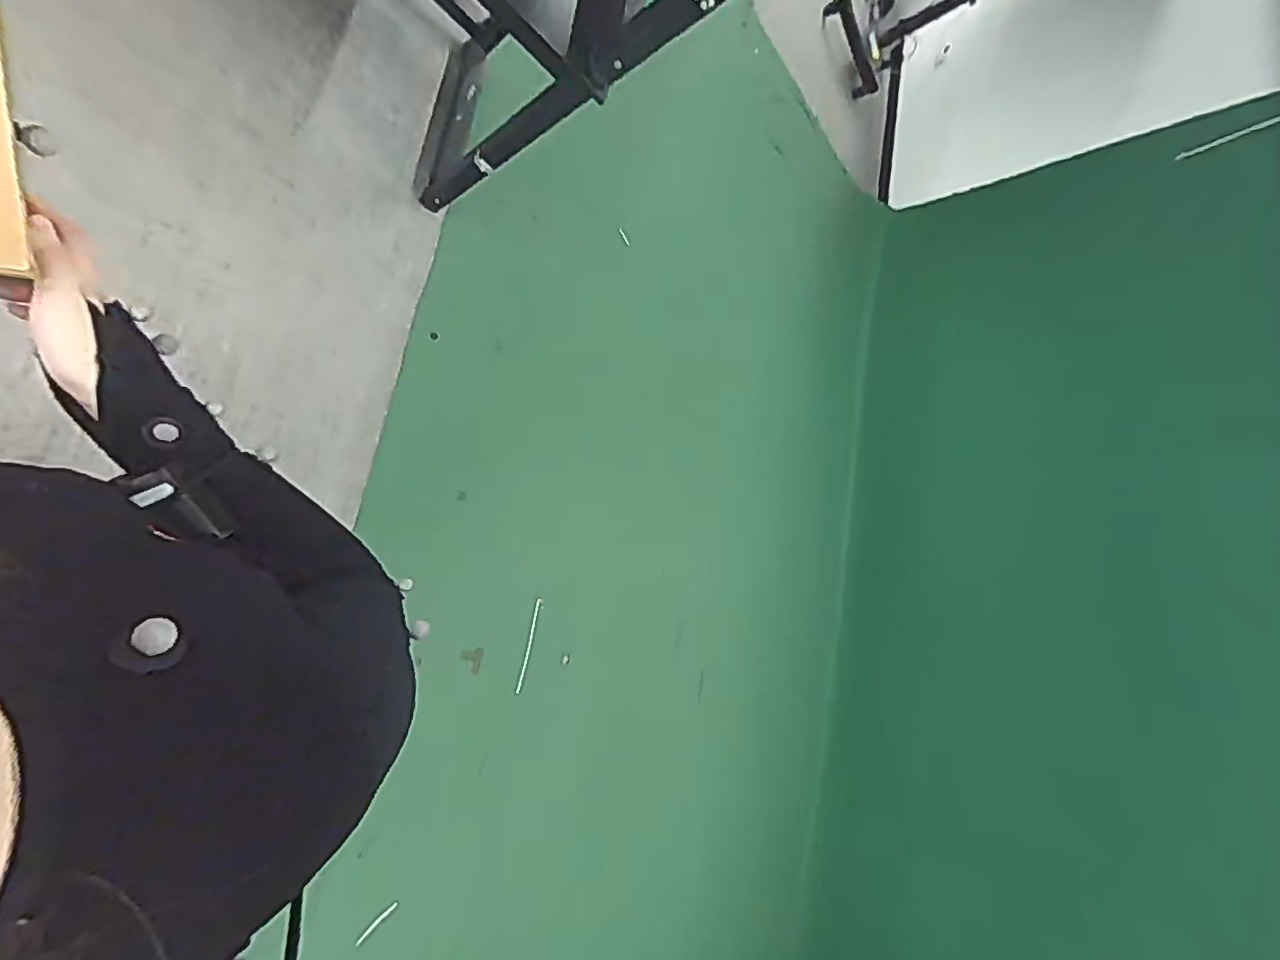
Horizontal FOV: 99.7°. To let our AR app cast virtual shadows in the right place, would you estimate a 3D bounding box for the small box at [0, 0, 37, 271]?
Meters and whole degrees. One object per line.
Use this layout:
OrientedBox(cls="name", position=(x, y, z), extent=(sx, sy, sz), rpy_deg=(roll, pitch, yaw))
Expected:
OrientedBox(cls="small box", position=(-0.440, -0.212, 0.271), extent=(0.168, 0.176, 0.179), rpy_deg=(-9, 109, -47))
